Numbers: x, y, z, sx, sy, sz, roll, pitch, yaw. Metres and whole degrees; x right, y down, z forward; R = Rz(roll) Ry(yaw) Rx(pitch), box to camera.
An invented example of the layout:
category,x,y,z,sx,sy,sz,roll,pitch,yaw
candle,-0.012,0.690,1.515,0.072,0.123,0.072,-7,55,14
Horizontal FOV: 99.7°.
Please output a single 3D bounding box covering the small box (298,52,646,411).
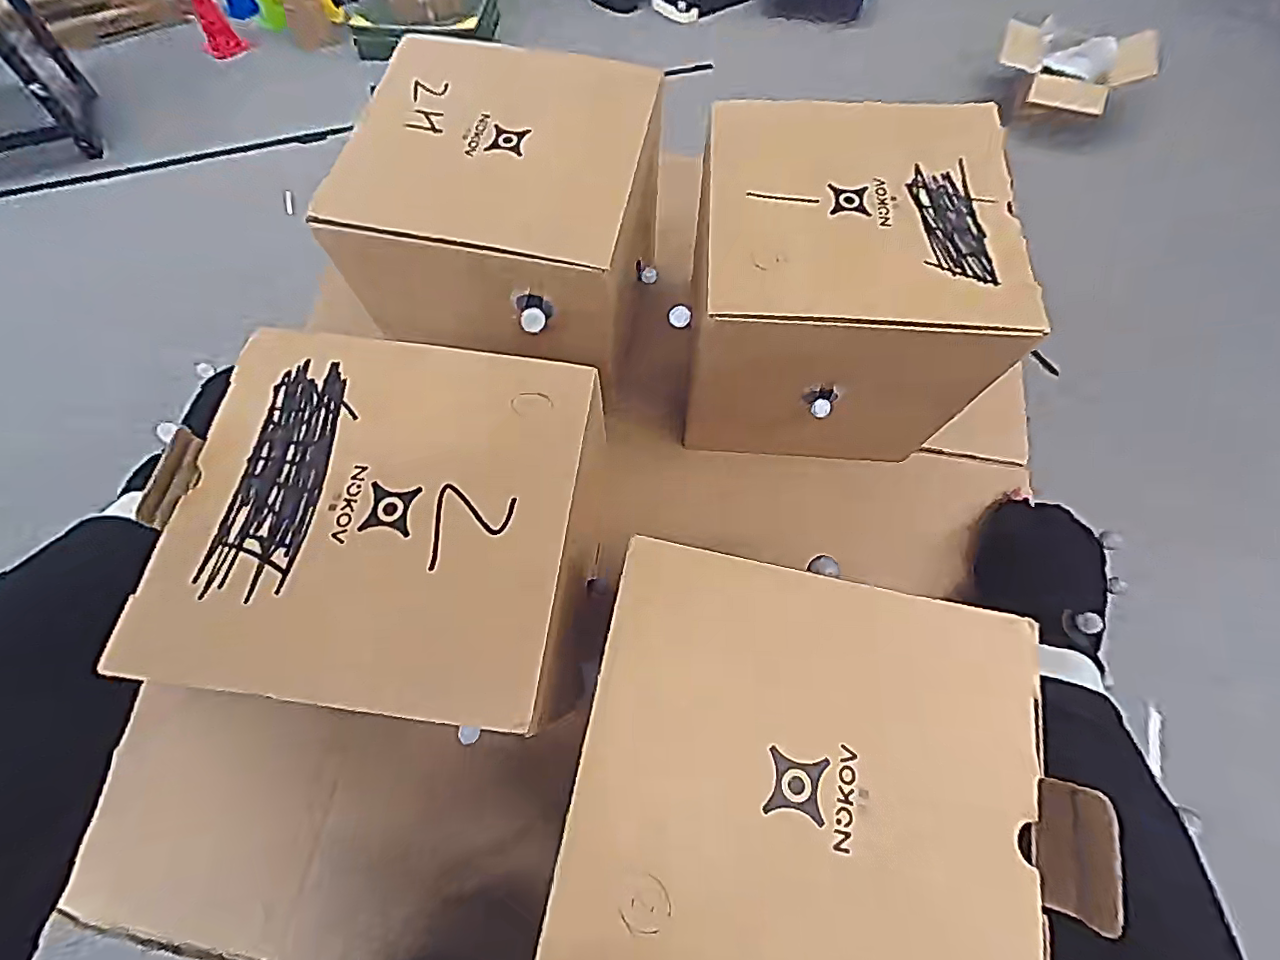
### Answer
category,x,y,z,sx,sy,sz,roll,pitch,yaw
small box,-0.096,-0.169,0.406,0.179,0.176,0.168,10,69,4
